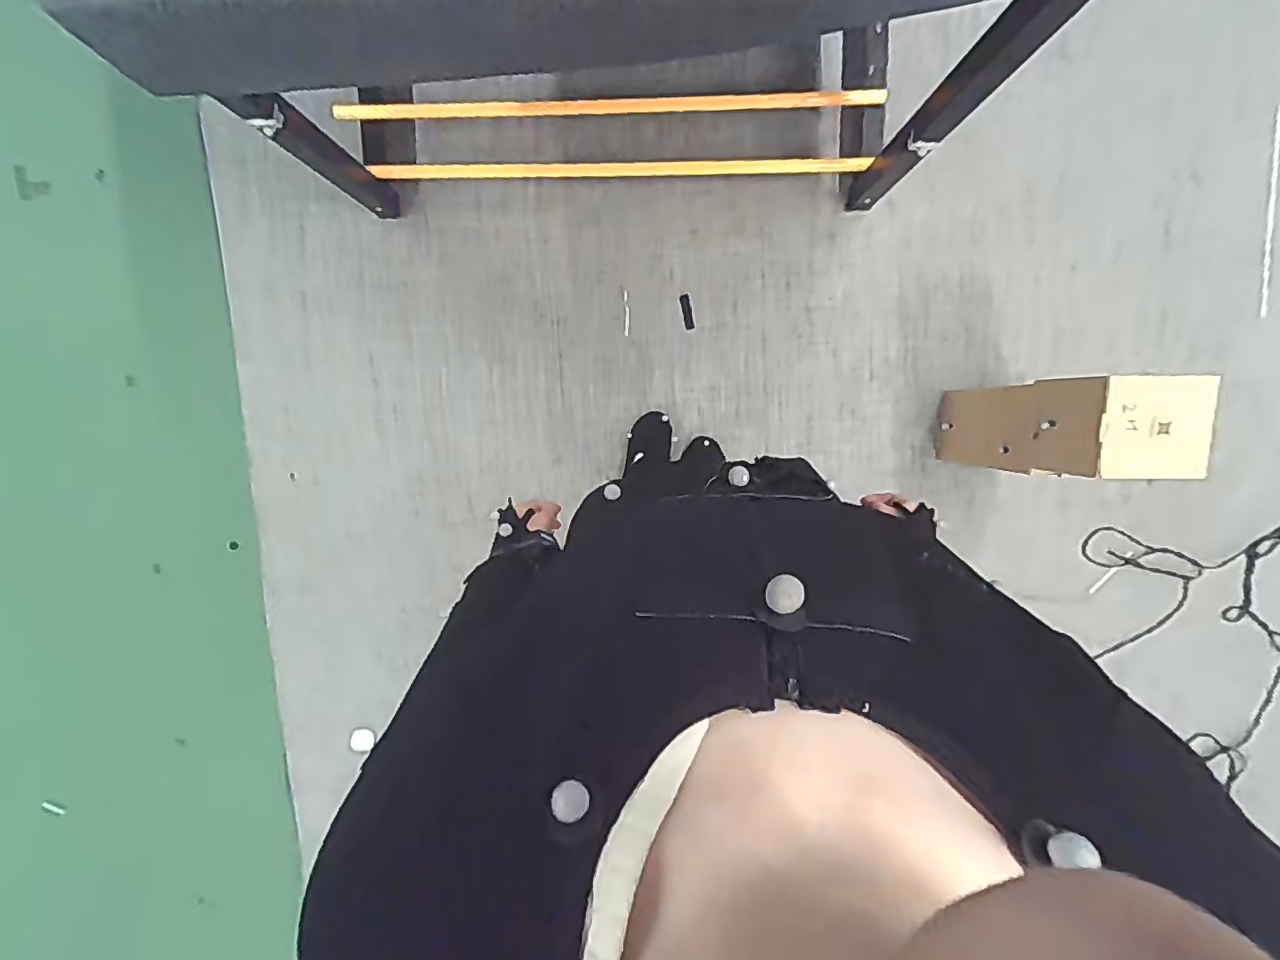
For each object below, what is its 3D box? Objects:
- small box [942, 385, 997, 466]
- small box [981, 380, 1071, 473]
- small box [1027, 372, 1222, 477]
[{"bbox_3d":[0.828,-0.129,1.254,0.168,0.176,0.179,1,98,1],"label":"small box"},{"bbox_3d":[0.820,-0.111,1.092,0.168,0.176,0.179,-2,96,1],"label":"small box"},{"bbox_3d":[0.817,-0.098,0.928,0.179,0.176,0.168,0,97,1],"label":"small box"}]
